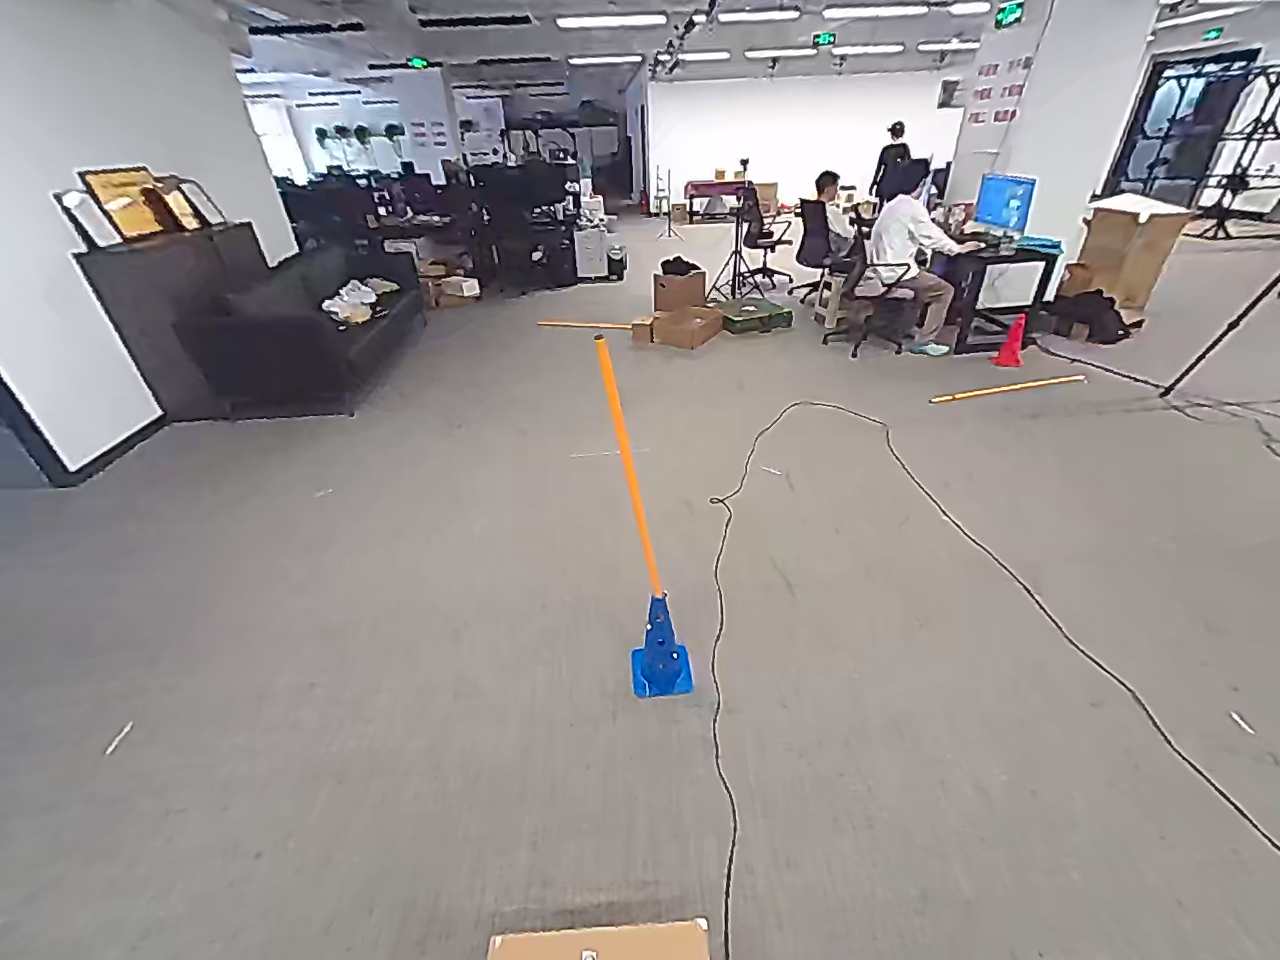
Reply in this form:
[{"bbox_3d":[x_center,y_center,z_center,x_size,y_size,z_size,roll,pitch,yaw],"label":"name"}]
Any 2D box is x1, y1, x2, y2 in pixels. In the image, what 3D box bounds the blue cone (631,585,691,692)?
[{"bbox_3d":[0.060,0.498,1.754,0.193,0.380,0.192,-7,32,-4],"label":"blue cone"}]
